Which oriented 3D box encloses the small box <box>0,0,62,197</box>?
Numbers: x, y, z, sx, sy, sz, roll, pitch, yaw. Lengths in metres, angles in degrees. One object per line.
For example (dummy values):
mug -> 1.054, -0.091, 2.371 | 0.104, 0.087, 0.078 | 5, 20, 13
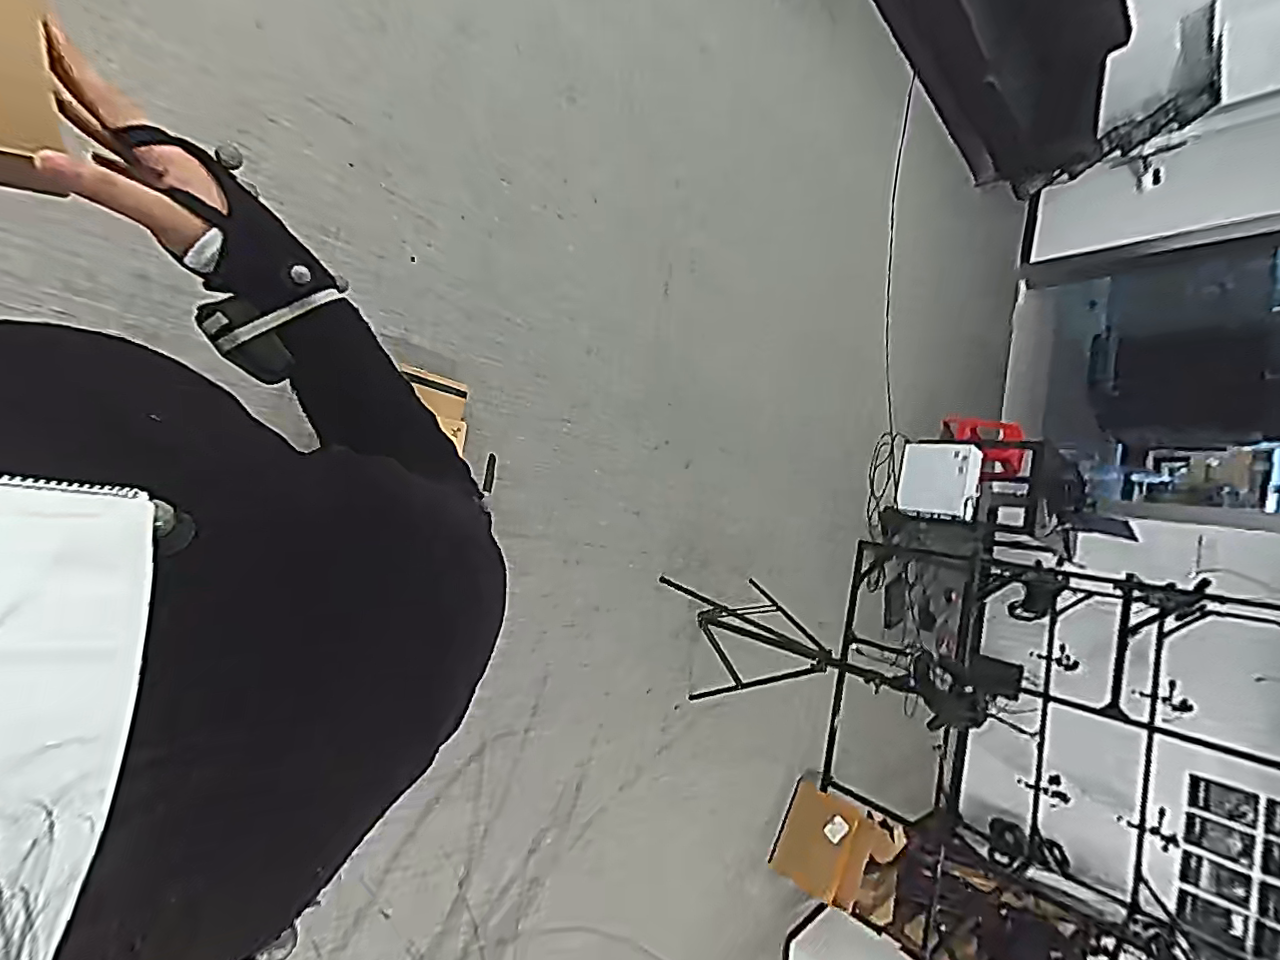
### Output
small box -> -0.440, -0.271, 0.287 | 0.168, 0.176, 0.179 | -9, 110, -44
